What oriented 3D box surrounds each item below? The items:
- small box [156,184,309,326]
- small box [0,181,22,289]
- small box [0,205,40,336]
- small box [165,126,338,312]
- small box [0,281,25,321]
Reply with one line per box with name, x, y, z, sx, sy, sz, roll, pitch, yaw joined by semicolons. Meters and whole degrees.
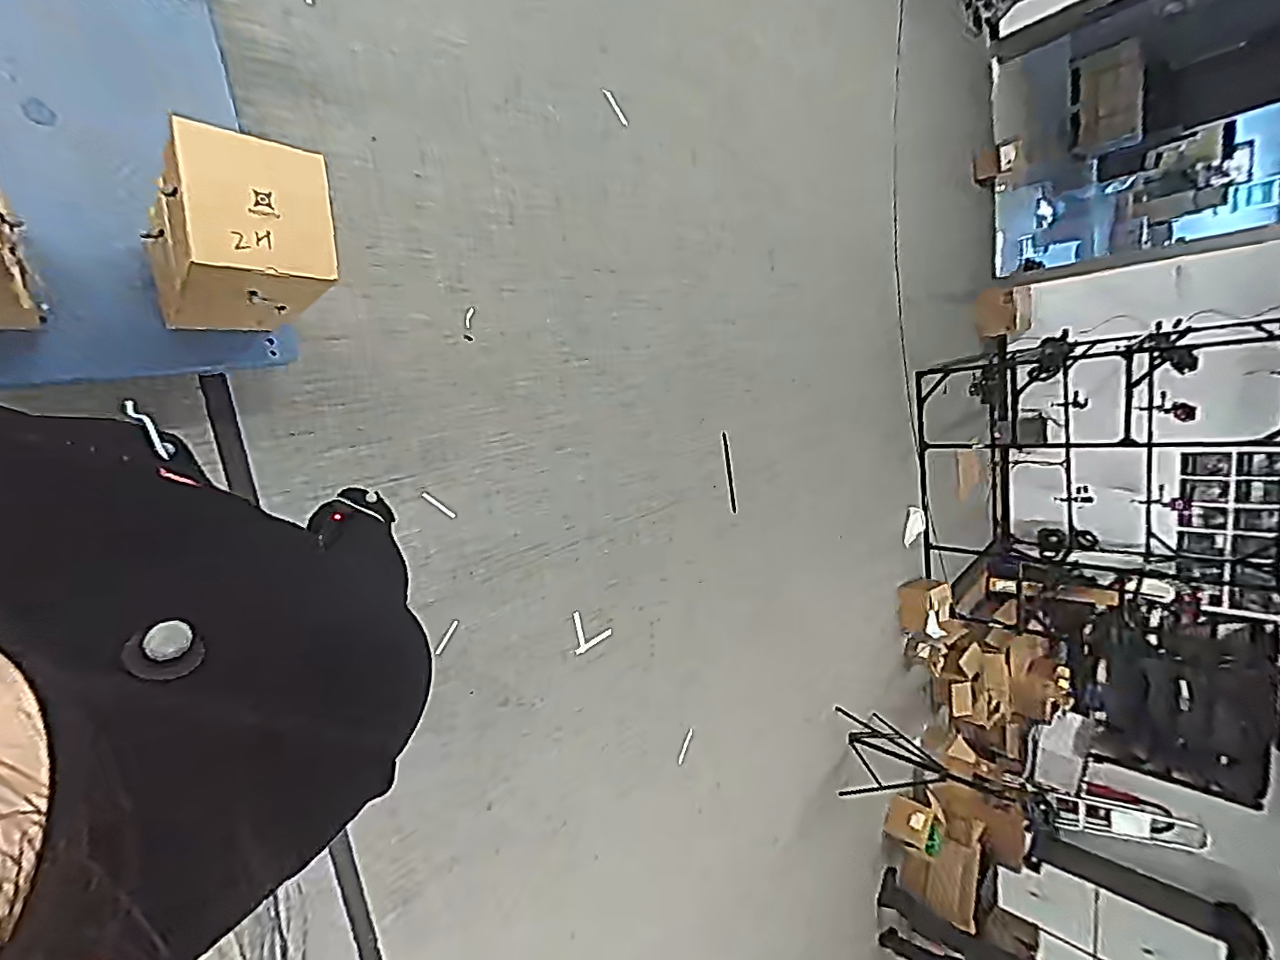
small box;-0.670;-0.354;0.890;0.179;0.176;0.168;-11;99;-45
small box;-0.785;-0.299;0.550;0.179;0.176;0.168;-13;101;-44
small box;-1.016;-0.306;0.784;0.179;0.176;0.168;-13;100;-43
small box;-0.555;-0.353;0.772;0.168;0.176;0.179;-9;98;-44
small box;-0.905;-0.303;0.663;0.168;0.176;0.179;-16;101;-43
